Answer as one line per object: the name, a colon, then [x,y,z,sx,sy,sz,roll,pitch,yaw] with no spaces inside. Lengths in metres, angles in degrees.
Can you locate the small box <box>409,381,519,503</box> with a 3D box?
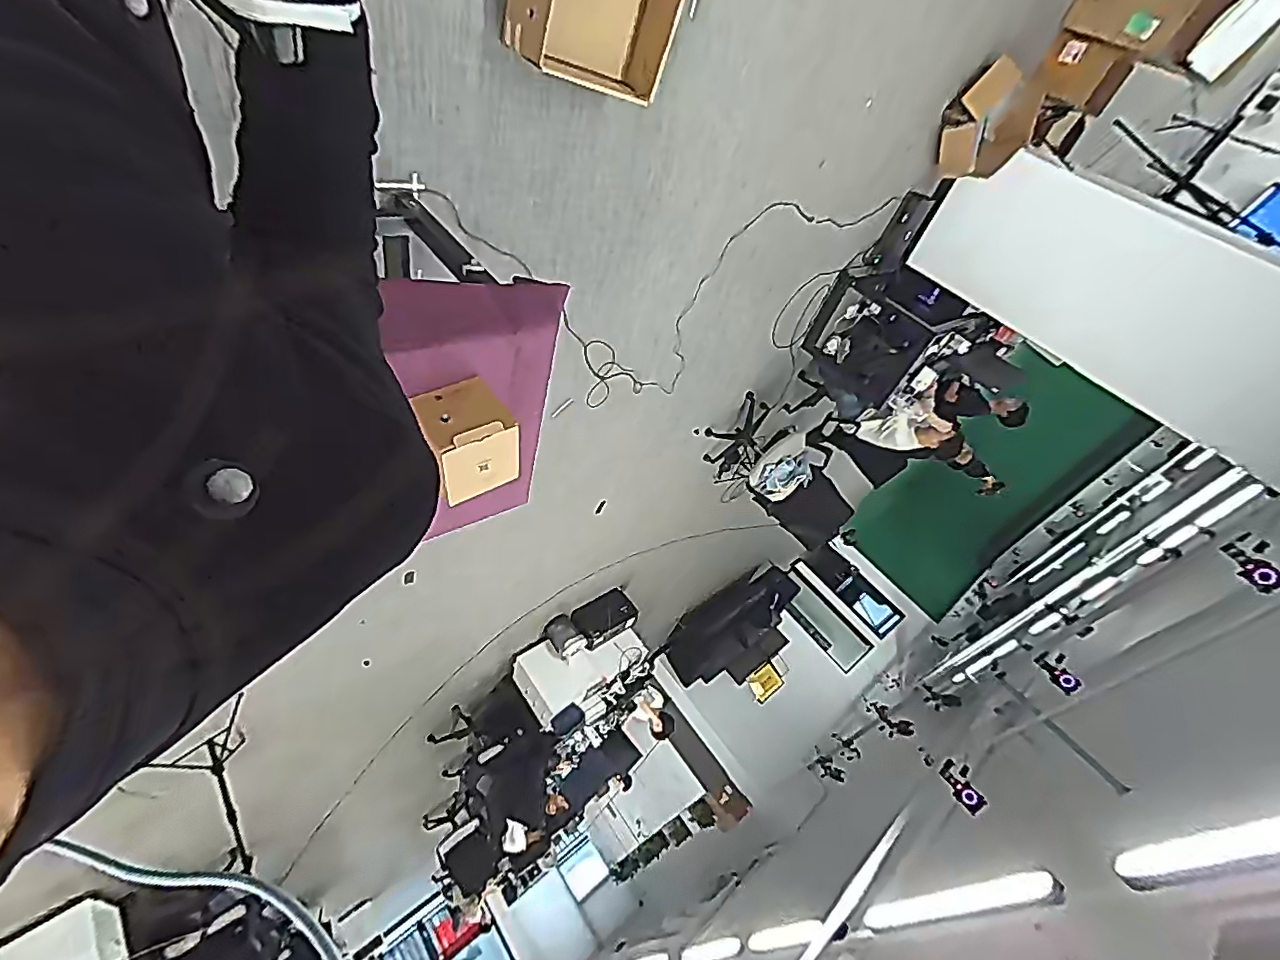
small box: [-0.371,-0.090,1.148,0.168,0.176,0.179,-26,151,-29]
